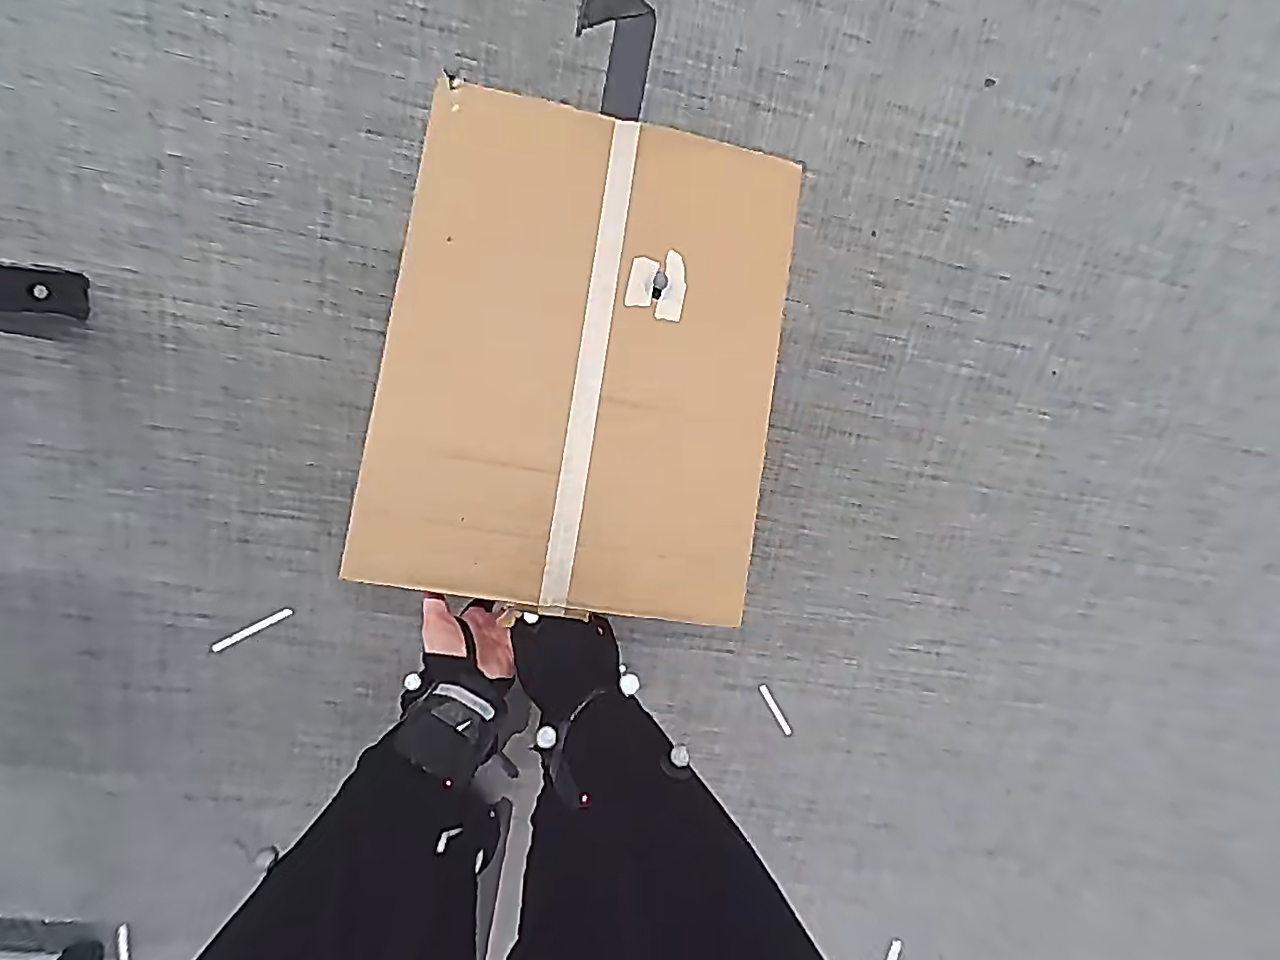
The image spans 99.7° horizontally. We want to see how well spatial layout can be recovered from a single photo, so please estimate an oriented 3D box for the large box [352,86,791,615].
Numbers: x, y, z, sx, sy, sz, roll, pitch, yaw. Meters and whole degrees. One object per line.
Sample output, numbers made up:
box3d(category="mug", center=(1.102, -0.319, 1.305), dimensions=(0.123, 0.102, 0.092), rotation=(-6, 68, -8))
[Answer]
box3d(category="large box", center=(-0.062, -0.093, 0.587), dimensions=(0.320, 0.320, 0.408), rotation=(10, 85, -8))
